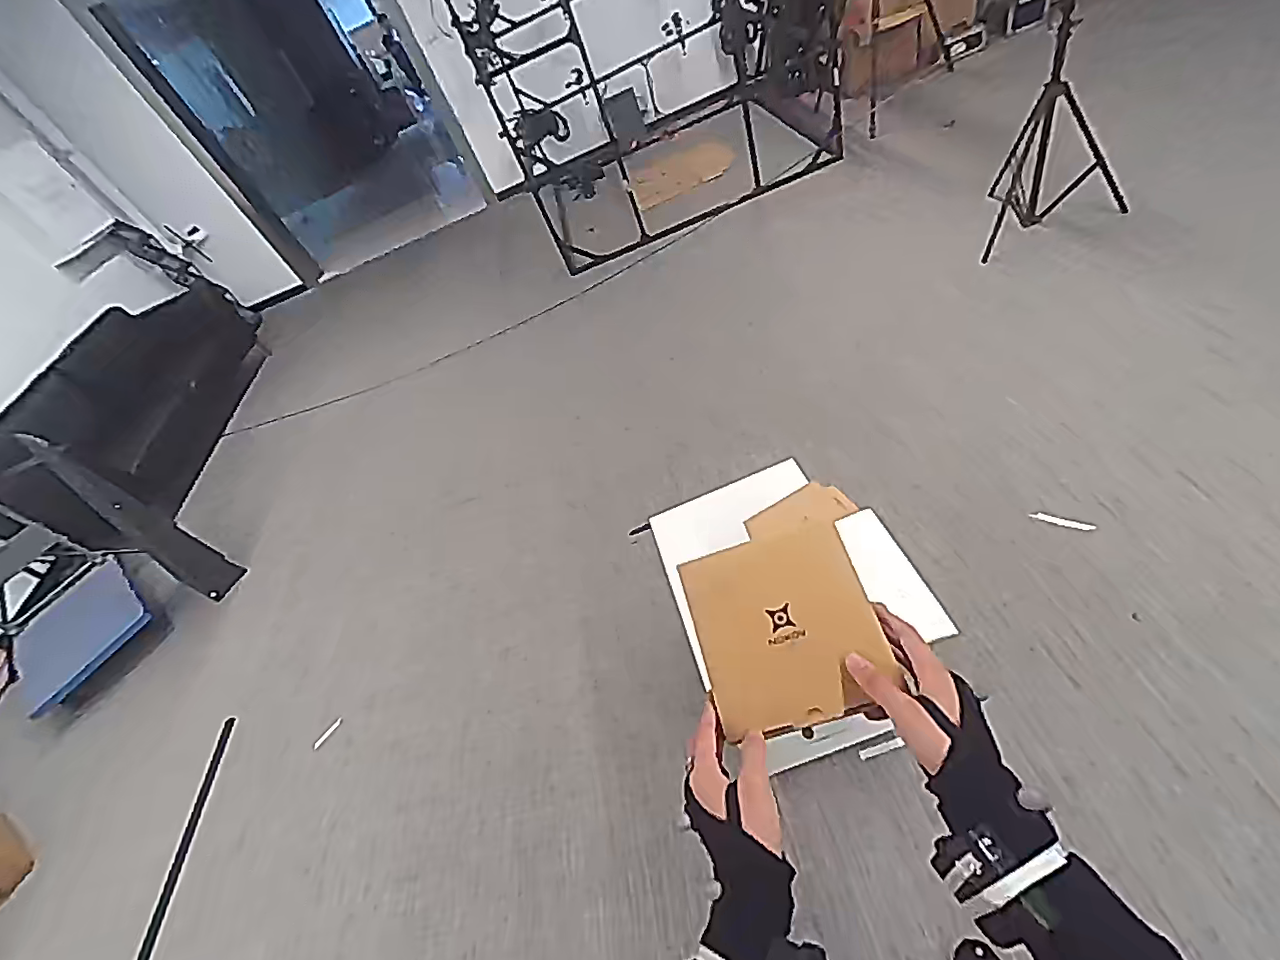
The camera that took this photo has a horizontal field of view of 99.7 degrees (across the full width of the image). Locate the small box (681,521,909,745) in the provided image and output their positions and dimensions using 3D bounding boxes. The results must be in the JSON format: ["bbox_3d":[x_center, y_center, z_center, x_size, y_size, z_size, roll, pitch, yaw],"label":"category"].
[{"bbox_3d":[0.157,0.172,0.581,0.168,0.176,0.179,-20,62,9],"label":"small box"}]
